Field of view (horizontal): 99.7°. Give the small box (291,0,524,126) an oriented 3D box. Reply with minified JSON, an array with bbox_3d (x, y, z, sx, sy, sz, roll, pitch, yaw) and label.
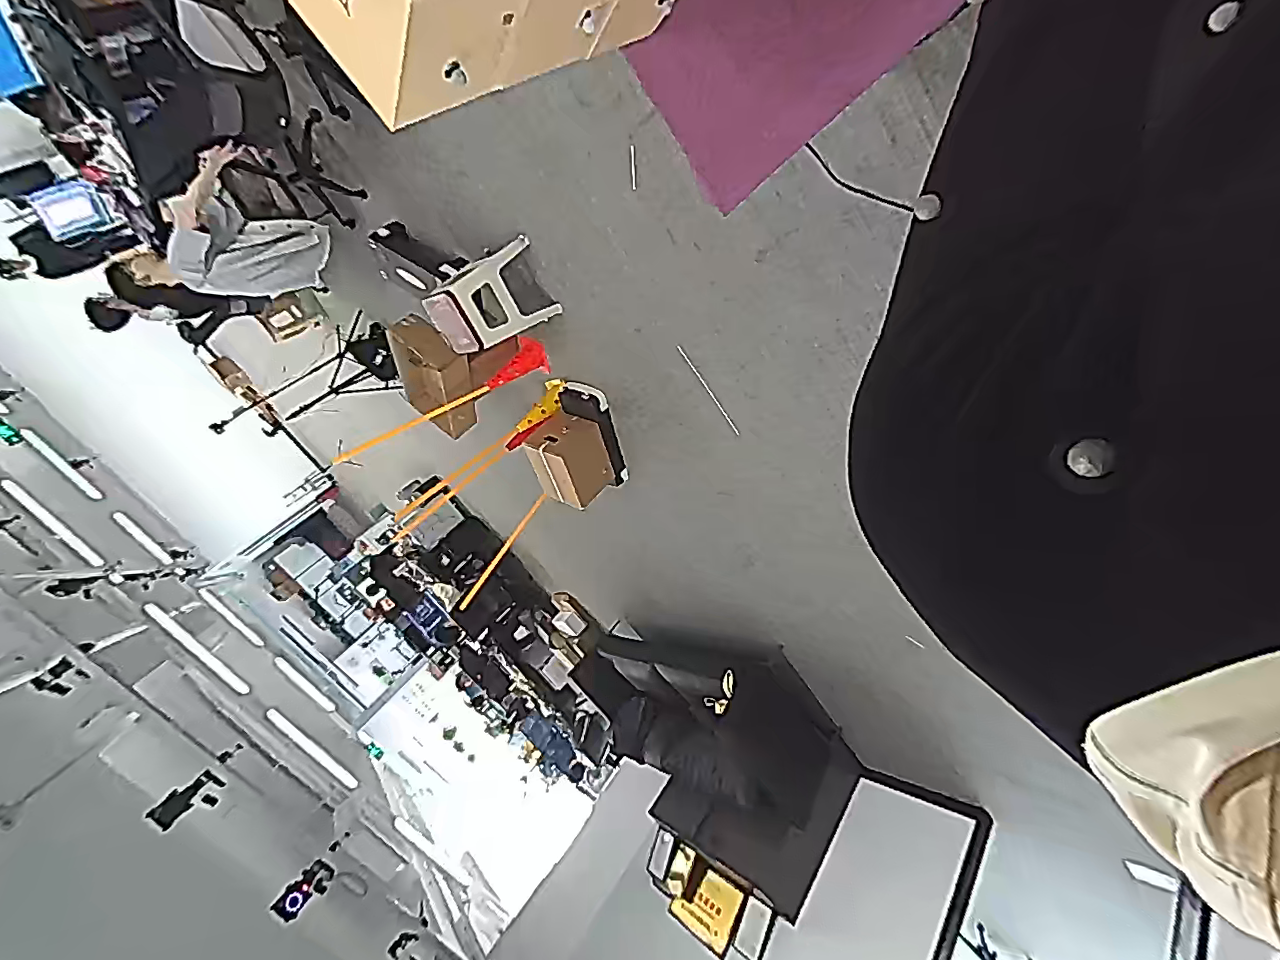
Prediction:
[{"bbox_3d":[-0.238,-0.523,0.555,0.179,0.176,0.168,51,151,-12],"label":"small box"}]

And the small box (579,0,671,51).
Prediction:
[{"bbox_3d":[-0.040,-0.728,0.713,0.179,0.176,0.168,51,151,-13],"label":"small box"}]

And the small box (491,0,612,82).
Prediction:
[{"bbox_3d":[-0.139,-0.626,0.633,0.179,0.176,0.168,50,151,-13],"label":"small box"}]
